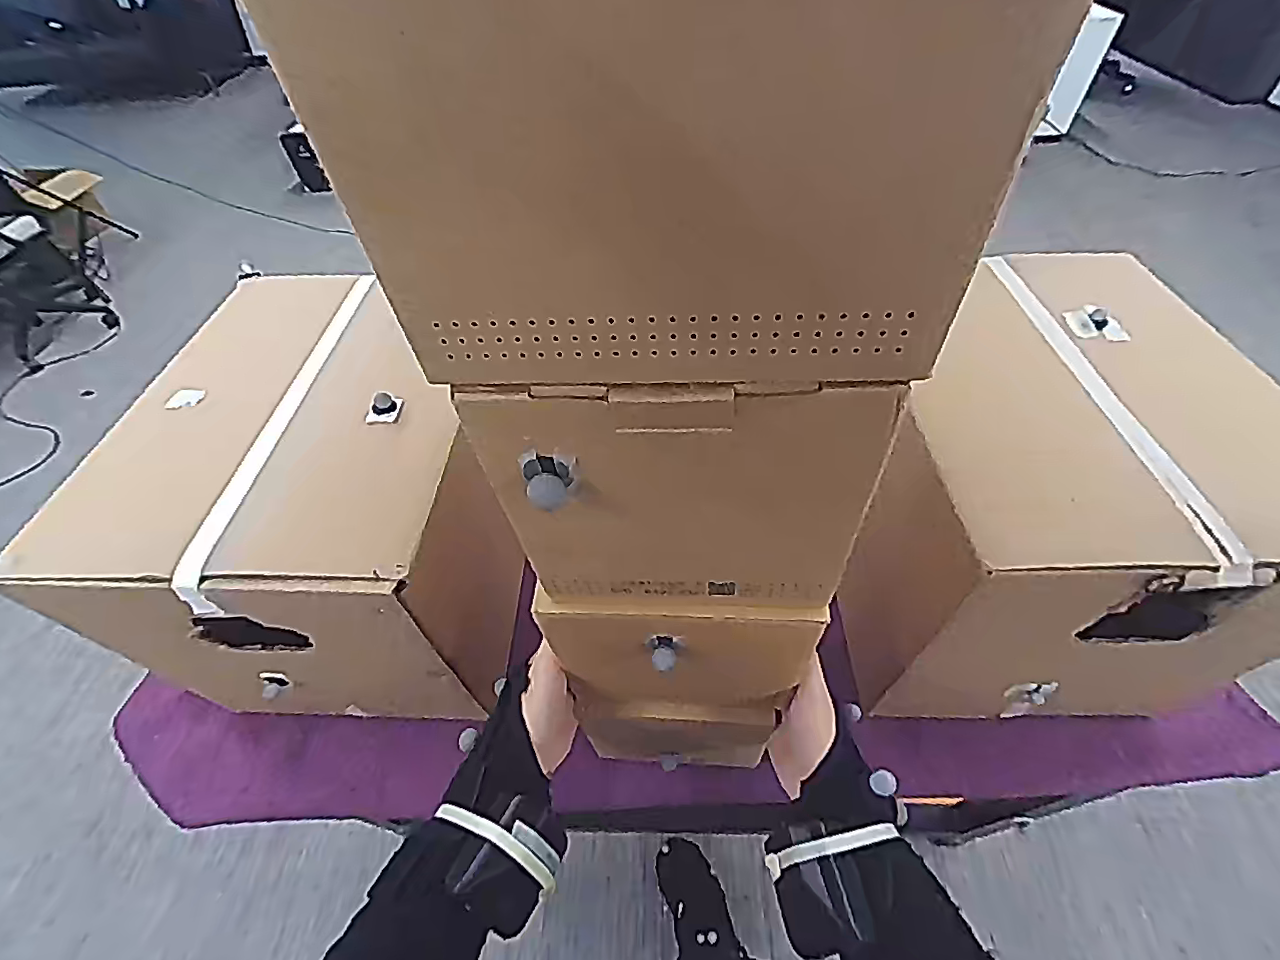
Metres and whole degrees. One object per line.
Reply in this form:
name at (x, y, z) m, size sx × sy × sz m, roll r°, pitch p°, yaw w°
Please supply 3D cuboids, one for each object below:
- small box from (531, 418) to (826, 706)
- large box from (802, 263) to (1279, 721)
small box at (0.033, 0.068, 0.425) m, size 0.179 × 0.176 × 0.168 m, roll 0°, pitch 52°, yaw 7°
large box at (0.389, 0.010, 0.600) m, size 0.320 × 0.320 × 0.408 m, roll -2°, pitch 49°, yaw 2°
